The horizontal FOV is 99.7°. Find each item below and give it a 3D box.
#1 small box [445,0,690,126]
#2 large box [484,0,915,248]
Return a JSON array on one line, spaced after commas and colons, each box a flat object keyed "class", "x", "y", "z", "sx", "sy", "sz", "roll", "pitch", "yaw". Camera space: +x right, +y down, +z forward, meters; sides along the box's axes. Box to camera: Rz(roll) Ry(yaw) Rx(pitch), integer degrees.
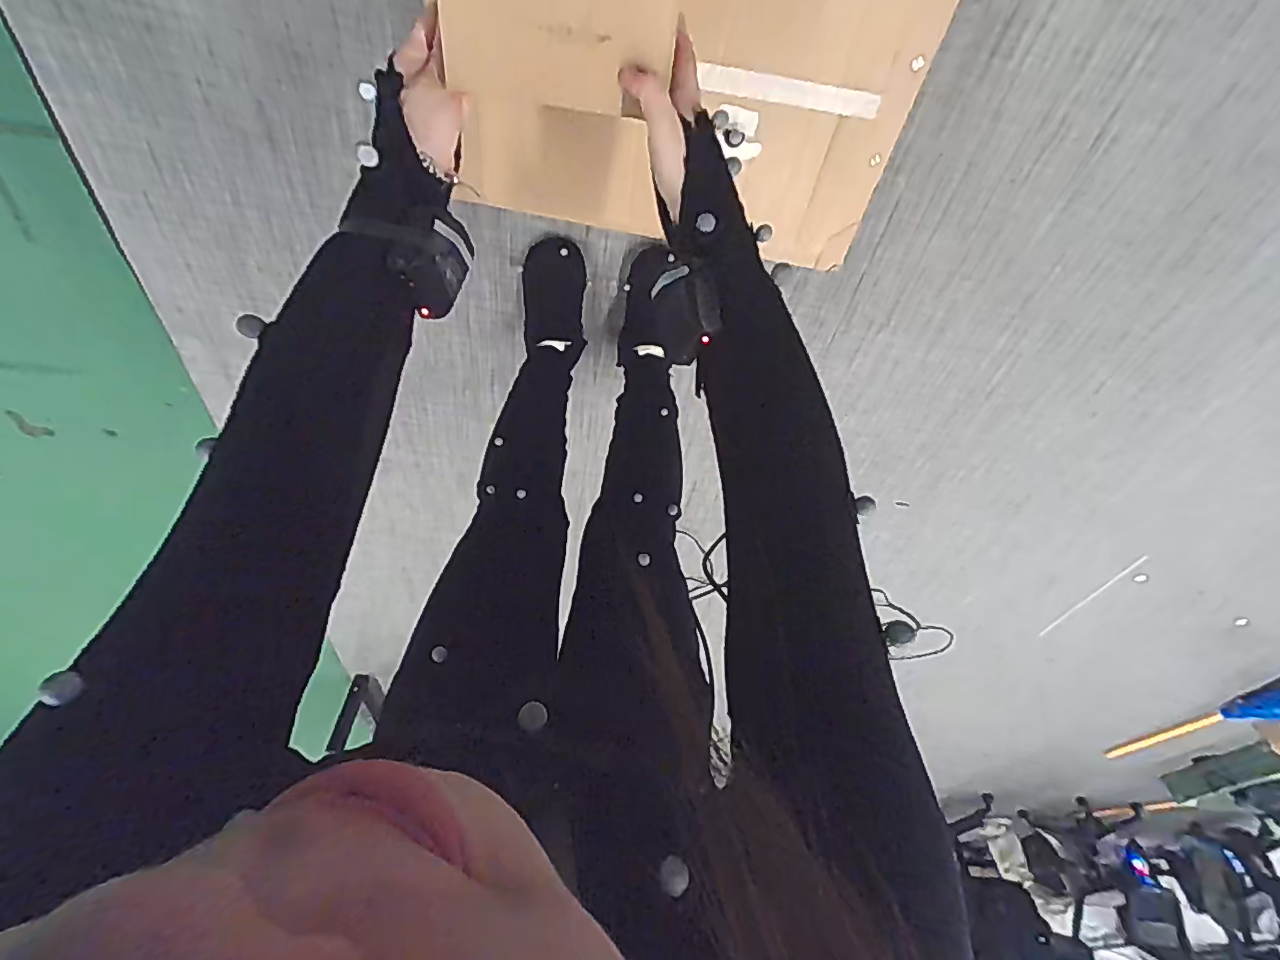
[{"class": "small box", "x": -0.045, "y": -0.396, "z": 0.403, "sx": 0.168, "sy": 0.176, "sz": 0.179, "roll": 6, "pitch": 136, "yaw": -4}, {"class": "large box", "x": 0.043, "y": -0.509, "z": 0.632, "sx": 0.408, "sy": 0.320, "sz": 0.320, "roll": 6, "pitch": 136, "yaw": -6}]
